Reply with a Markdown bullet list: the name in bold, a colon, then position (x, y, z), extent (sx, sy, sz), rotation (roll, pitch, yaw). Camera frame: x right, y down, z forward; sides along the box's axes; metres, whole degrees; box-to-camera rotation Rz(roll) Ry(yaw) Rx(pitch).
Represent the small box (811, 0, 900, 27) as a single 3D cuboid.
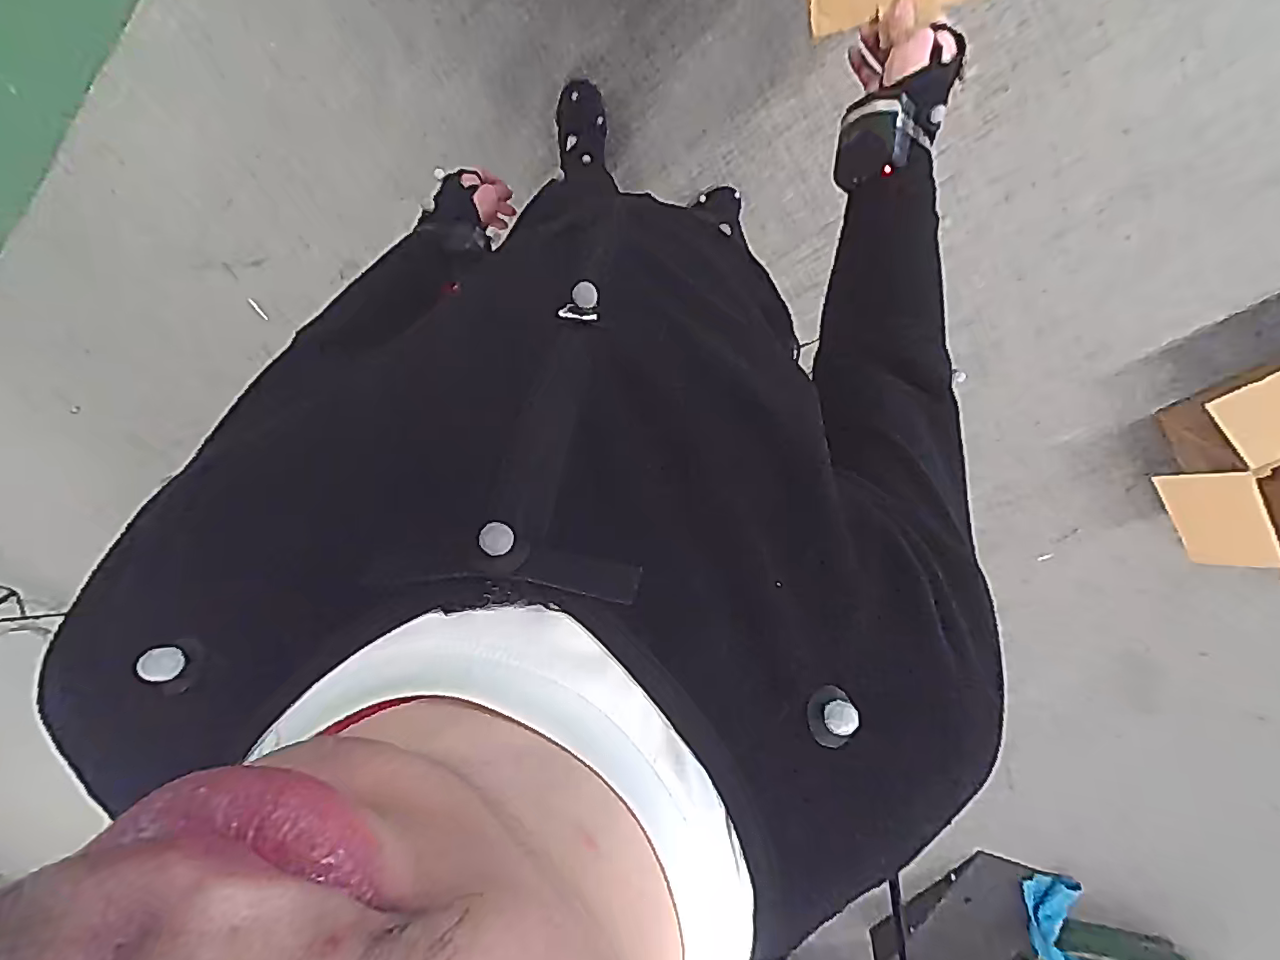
- **small box**: position (0.225, -0.545, 0.460), extent (0.168, 0.179, 0.176), rotation (-2, 149, 18)
